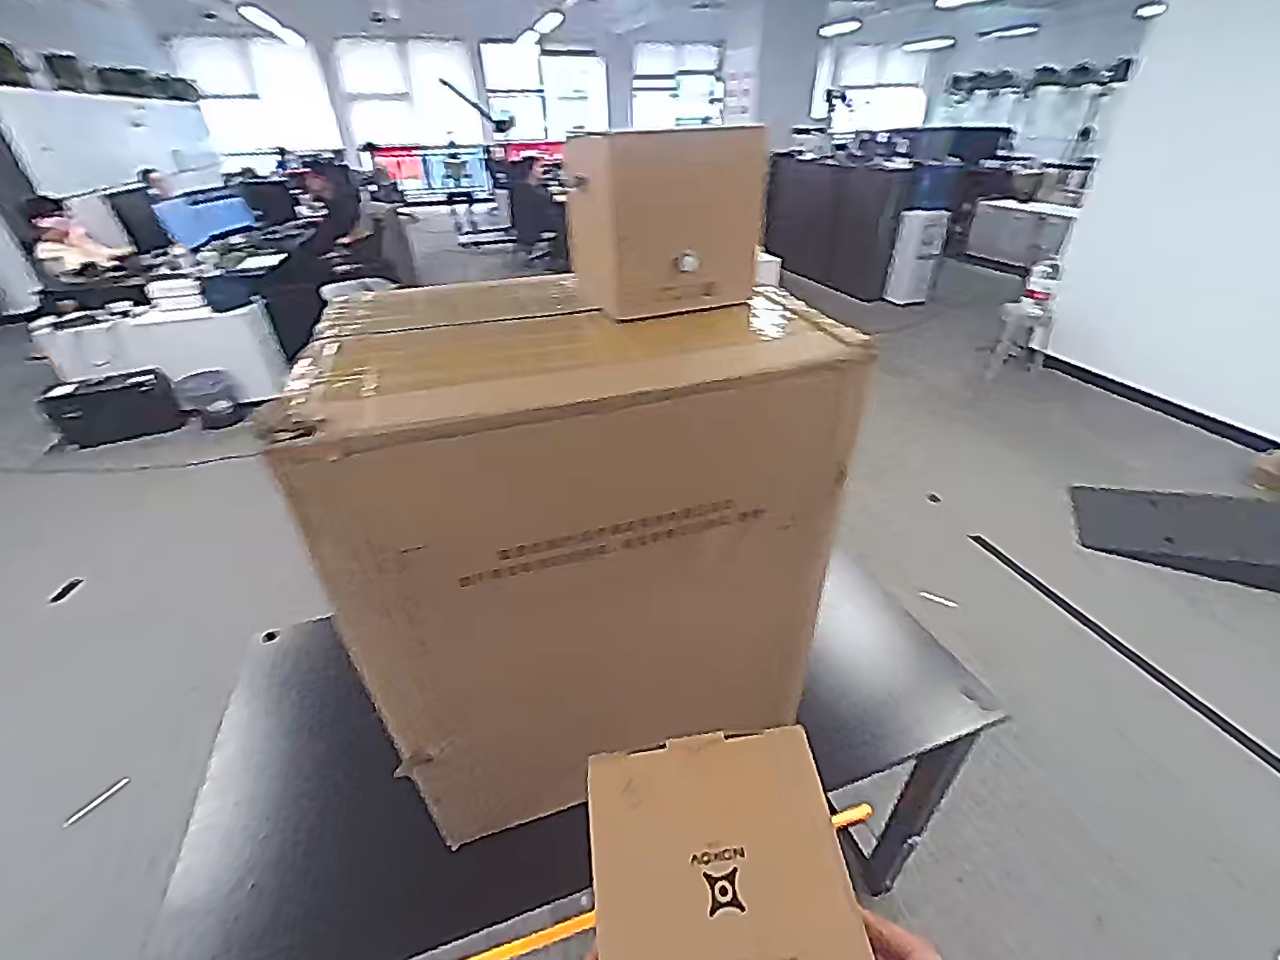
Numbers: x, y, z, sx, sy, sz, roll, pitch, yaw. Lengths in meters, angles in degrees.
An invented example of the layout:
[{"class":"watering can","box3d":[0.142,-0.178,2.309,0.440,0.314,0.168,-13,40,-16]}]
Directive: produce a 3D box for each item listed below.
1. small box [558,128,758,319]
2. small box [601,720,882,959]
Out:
[{"class":"small box","box3d":[0.013,-0.291,0.609,0.168,0.176,0.179,-14,35,-16]},{"class":"small box","box3d":[0.061,0.308,0.415,0.168,0.176,0.179,-7,51,-3]}]
